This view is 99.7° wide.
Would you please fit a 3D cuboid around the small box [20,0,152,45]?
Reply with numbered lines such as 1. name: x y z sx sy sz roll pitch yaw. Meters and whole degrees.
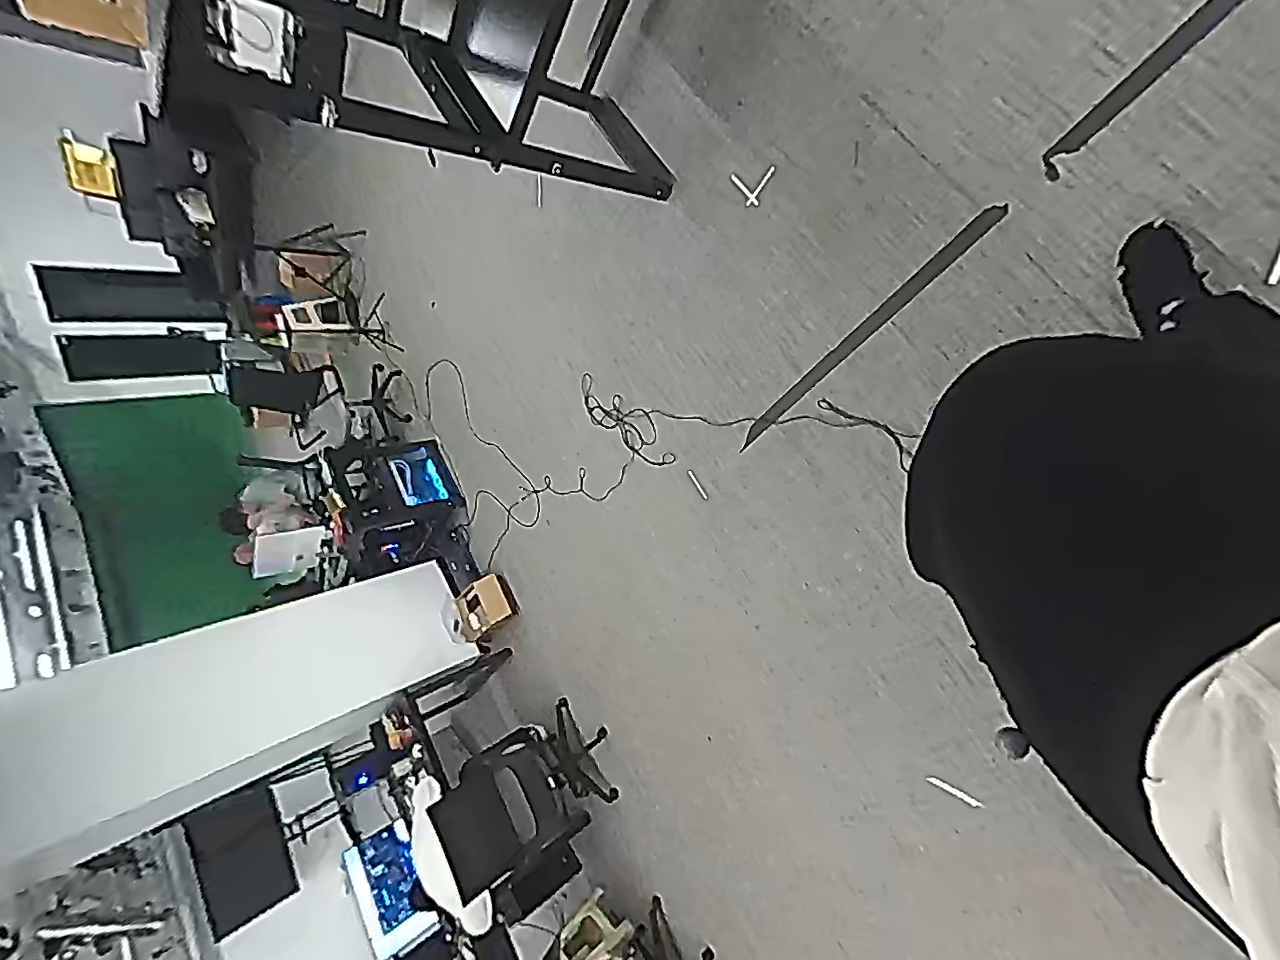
1. small box: -1.003 -0.924 0.964 0.179 0.176 0.168 51 132 23
